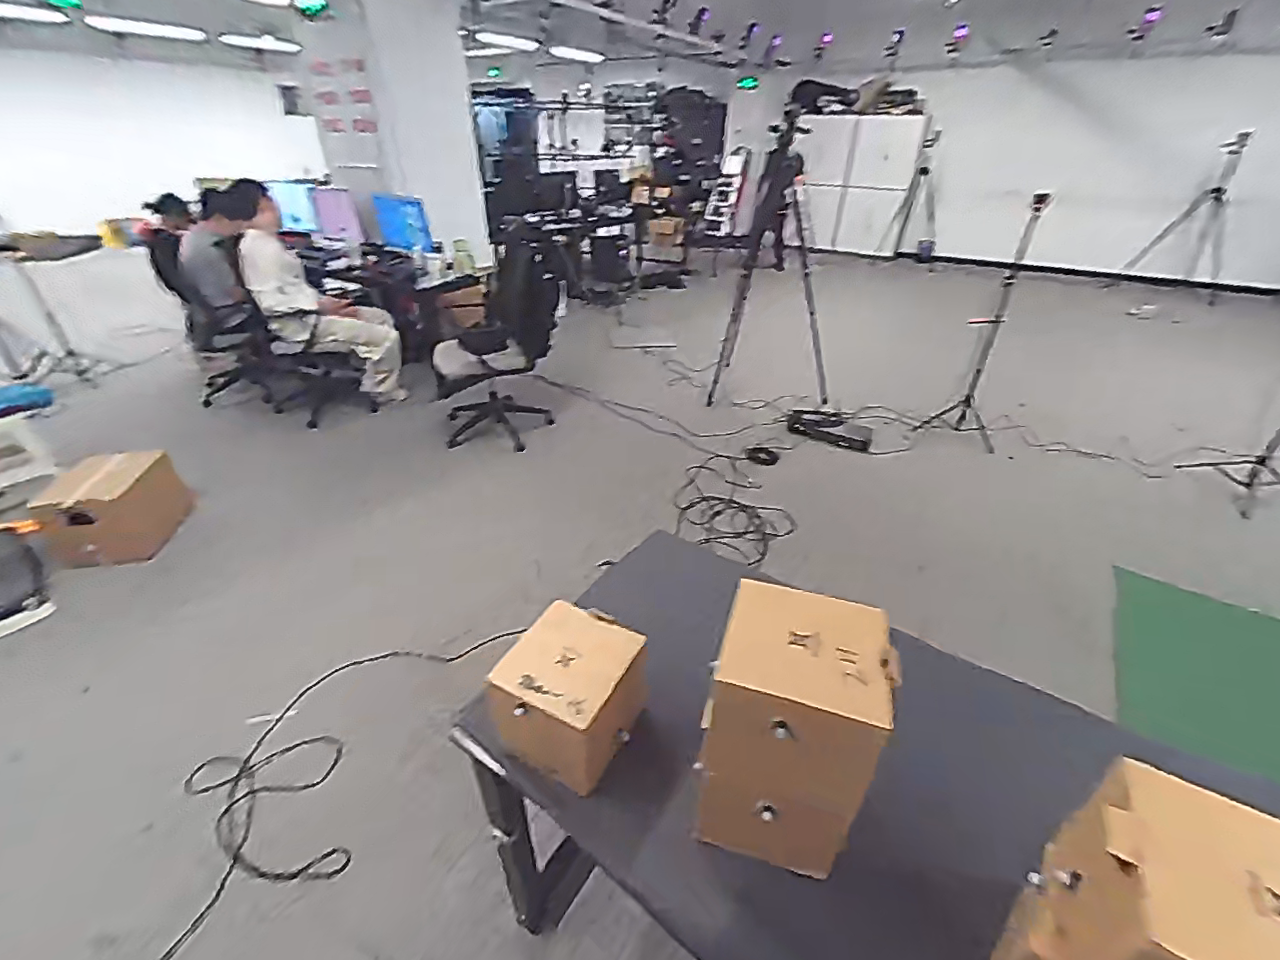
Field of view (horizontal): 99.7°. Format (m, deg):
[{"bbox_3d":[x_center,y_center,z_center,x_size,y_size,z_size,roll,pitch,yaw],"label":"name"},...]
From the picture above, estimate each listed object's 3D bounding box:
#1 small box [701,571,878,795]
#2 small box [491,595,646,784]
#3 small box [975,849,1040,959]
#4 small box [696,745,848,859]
[{"bbox_3d":[0.178,0.241,0.654,0.179,0.176,0.168,11,34,16],"label":"small box"},{"bbox_3d":[-0.105,0.317,0.835,0.168,0.176,0.179,17,36,23],"label":"small box"},{"bbox_3d":[0.476,0.498,0.555,0.179,0.176,0.168,-25,39,-34],"label":"small box"},{"bbox_3d":[0.178,0.380,0.745,0.179,0.176,0.168,10,34,14],"label":"small box"}]
